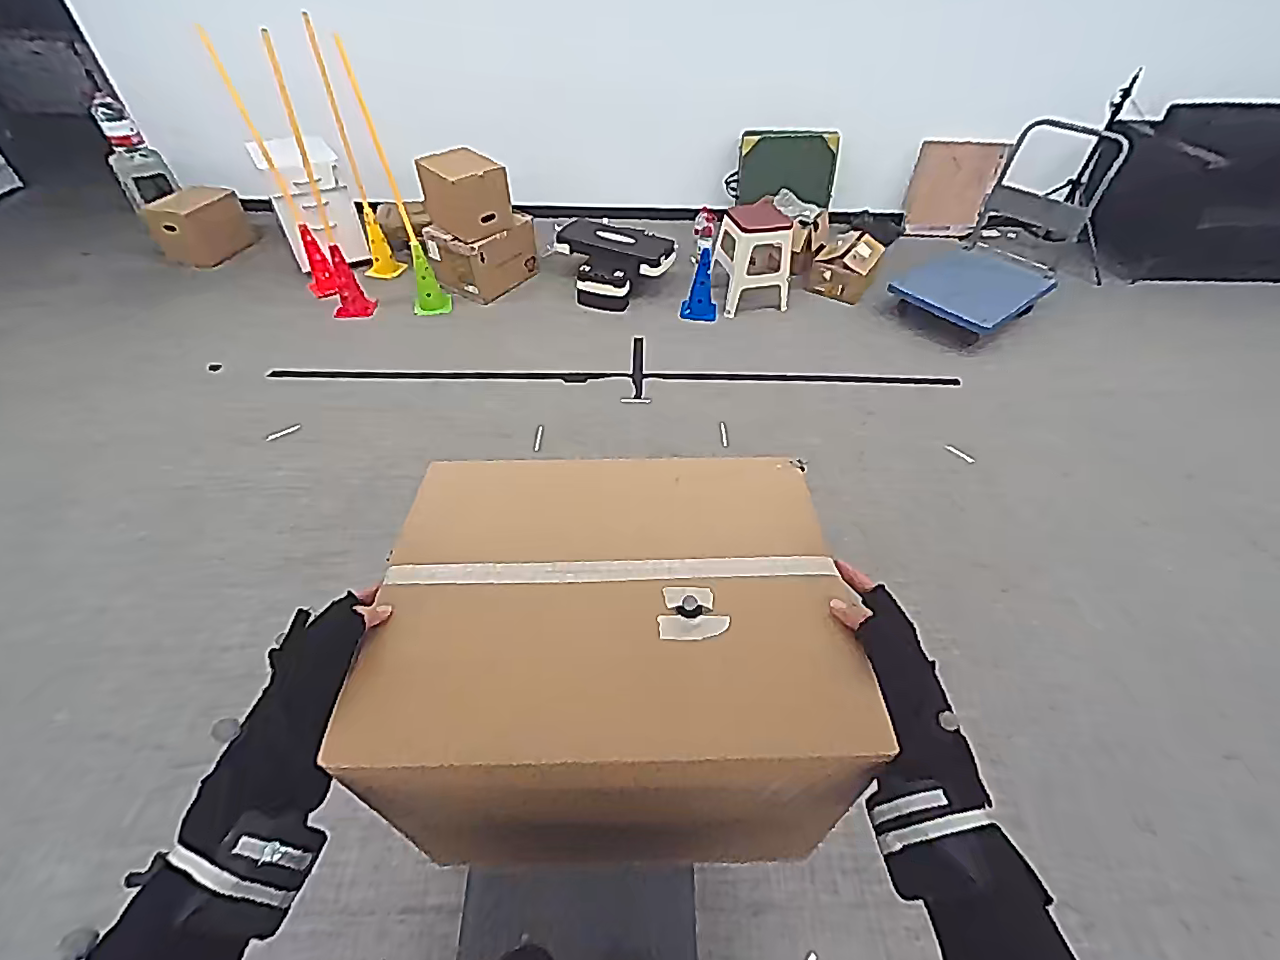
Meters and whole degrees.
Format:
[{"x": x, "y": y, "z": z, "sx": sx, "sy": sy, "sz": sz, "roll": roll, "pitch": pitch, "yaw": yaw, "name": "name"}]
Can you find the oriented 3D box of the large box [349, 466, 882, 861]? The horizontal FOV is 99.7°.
[{"x": -0.021, "y": 0.201, "z": 0.605, "sx": 0.408, "sy": 0.320, "sz": 0.320, "roll": -1, "pitch": 44, "yaw": -1, "name": "large box"}]
